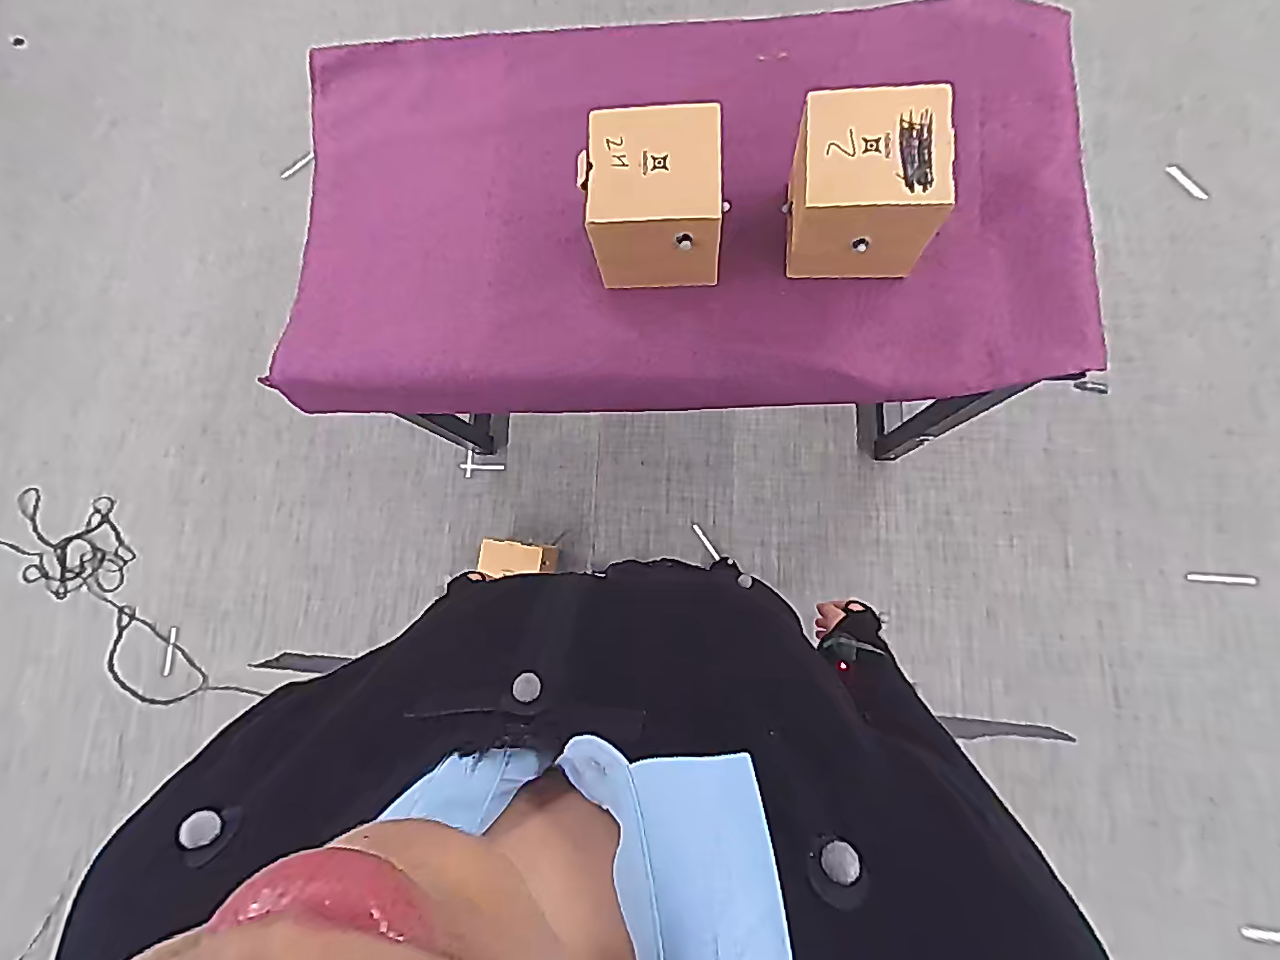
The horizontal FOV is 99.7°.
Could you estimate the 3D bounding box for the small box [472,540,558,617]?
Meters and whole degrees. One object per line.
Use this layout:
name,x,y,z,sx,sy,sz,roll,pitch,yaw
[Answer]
small box,-0.329,0.262,1.456,0.168,0.176,0.179,8,82,7

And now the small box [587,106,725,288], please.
small box,0.028,-0.392,0.775,0.179,0.176,0.168,0,80,6
